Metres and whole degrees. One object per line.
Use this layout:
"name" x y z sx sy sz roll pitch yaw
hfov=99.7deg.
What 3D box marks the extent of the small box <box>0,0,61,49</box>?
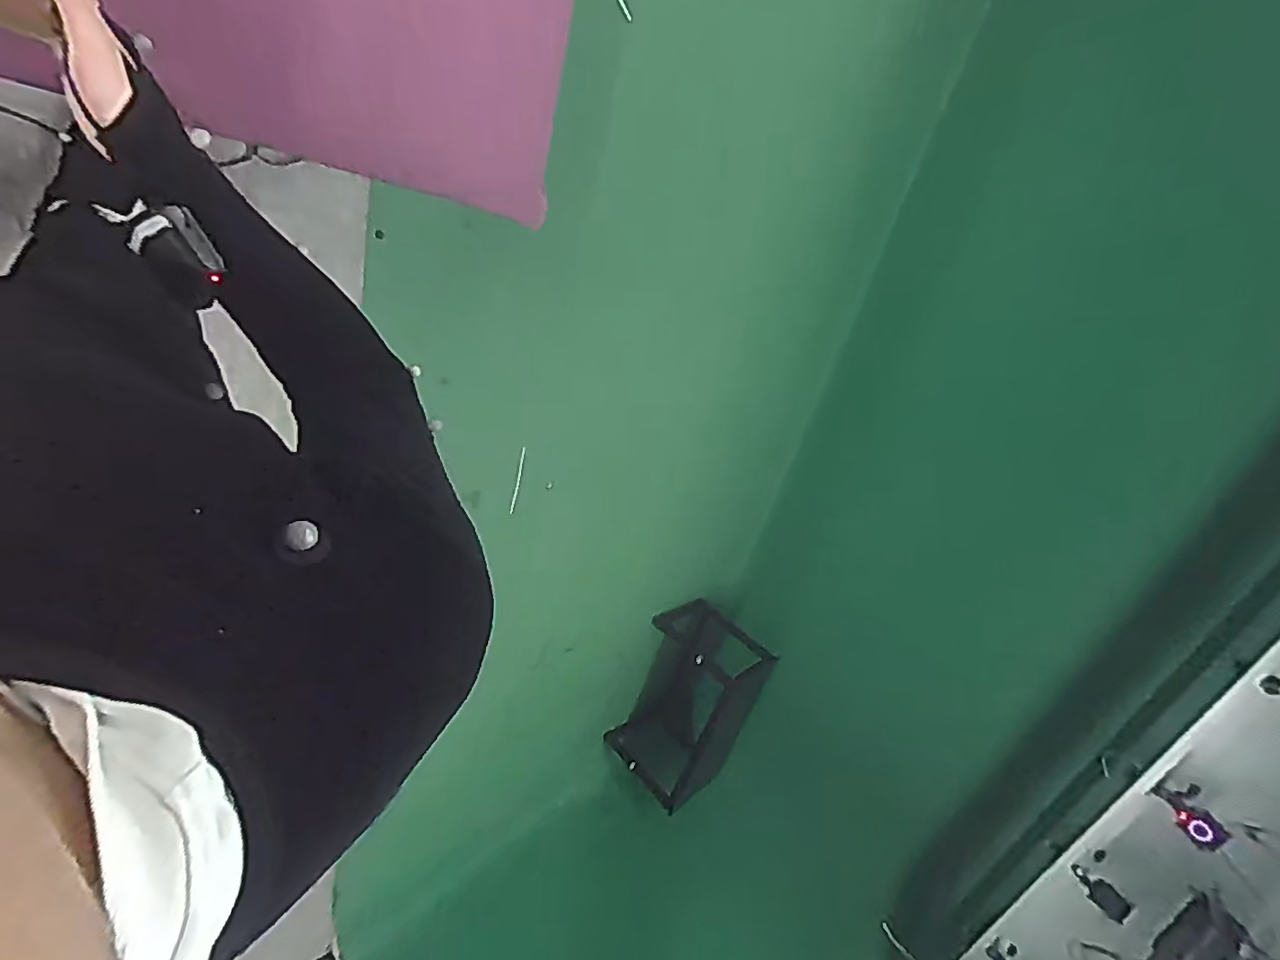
"small box" -0.487 -0.421 0.338 0.168 0.176 0.179 -2 111 -46
